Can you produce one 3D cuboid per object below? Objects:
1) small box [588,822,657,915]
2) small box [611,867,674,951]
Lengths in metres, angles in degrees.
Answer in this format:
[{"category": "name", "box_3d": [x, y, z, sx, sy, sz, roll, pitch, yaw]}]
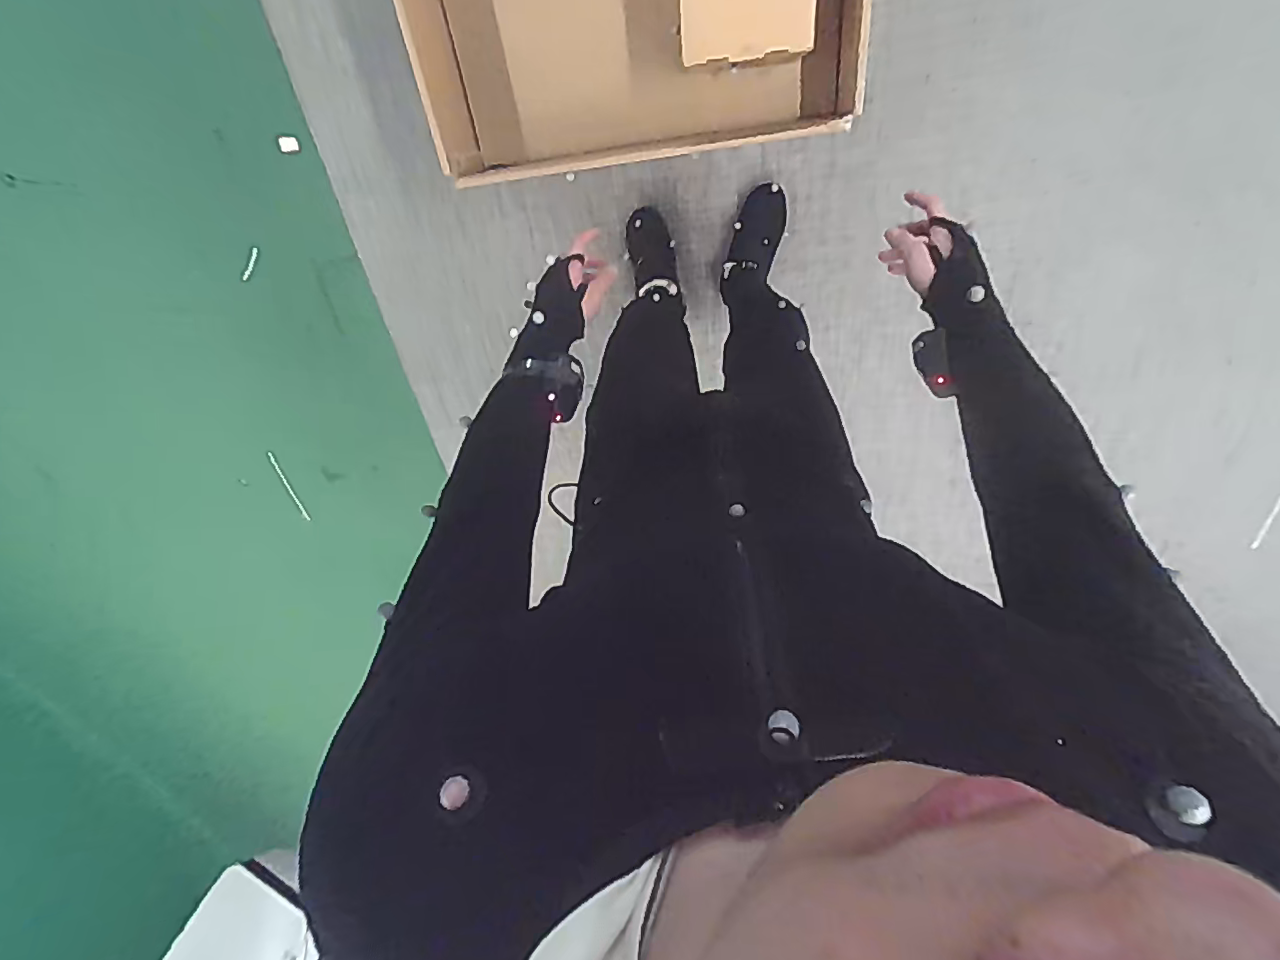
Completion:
[{"category": "small box", "box_3d": [-0.044, 1.130, 1.575, 0.168, 0.176, 0.179, -3, 125, 10]}, {"category": "small box", "box_3d": [0.013, 1.368, 1.732, 0.168, 0.176, 0.179, -5, 122, 11]}]
